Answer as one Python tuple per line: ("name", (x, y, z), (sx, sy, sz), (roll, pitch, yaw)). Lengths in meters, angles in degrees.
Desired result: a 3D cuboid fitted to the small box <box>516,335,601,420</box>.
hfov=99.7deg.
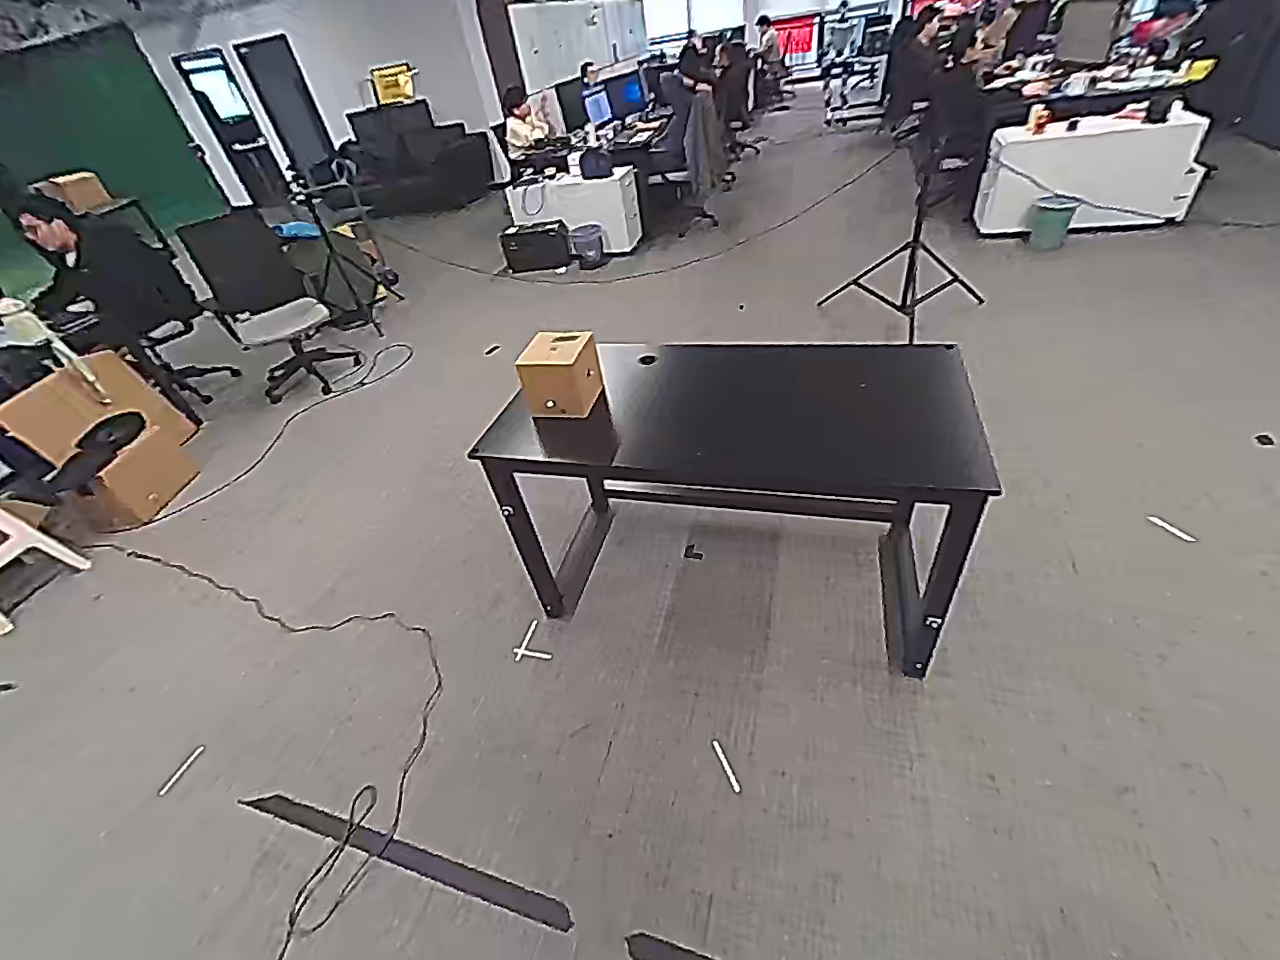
("small box", (-0.214, -0.284, 1.484), (0.168, 0.176, 0.179), (3, 43, 16))
